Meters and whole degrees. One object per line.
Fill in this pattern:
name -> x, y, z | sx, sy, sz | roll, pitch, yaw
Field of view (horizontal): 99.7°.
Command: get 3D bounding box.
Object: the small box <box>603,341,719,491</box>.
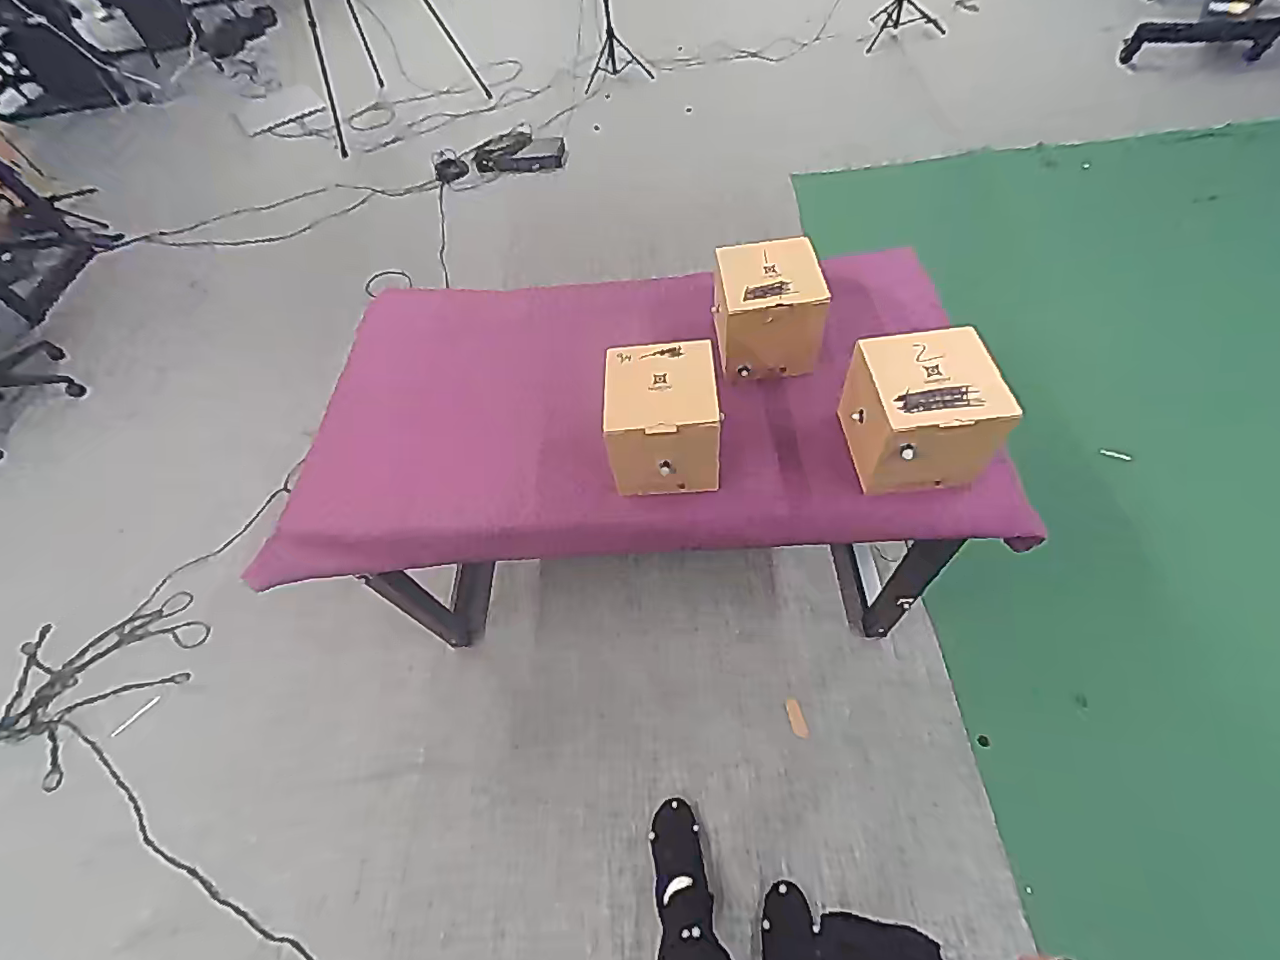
small box -> 0.039, -0.093, 0.859 | 0.168, 0.176, 0.179 | -3, 55, 5

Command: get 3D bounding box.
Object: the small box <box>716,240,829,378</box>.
small box -> 0.229, -0.298, 0.972 | 0.168, 0.176, 0.179 | -5, 55, 4
